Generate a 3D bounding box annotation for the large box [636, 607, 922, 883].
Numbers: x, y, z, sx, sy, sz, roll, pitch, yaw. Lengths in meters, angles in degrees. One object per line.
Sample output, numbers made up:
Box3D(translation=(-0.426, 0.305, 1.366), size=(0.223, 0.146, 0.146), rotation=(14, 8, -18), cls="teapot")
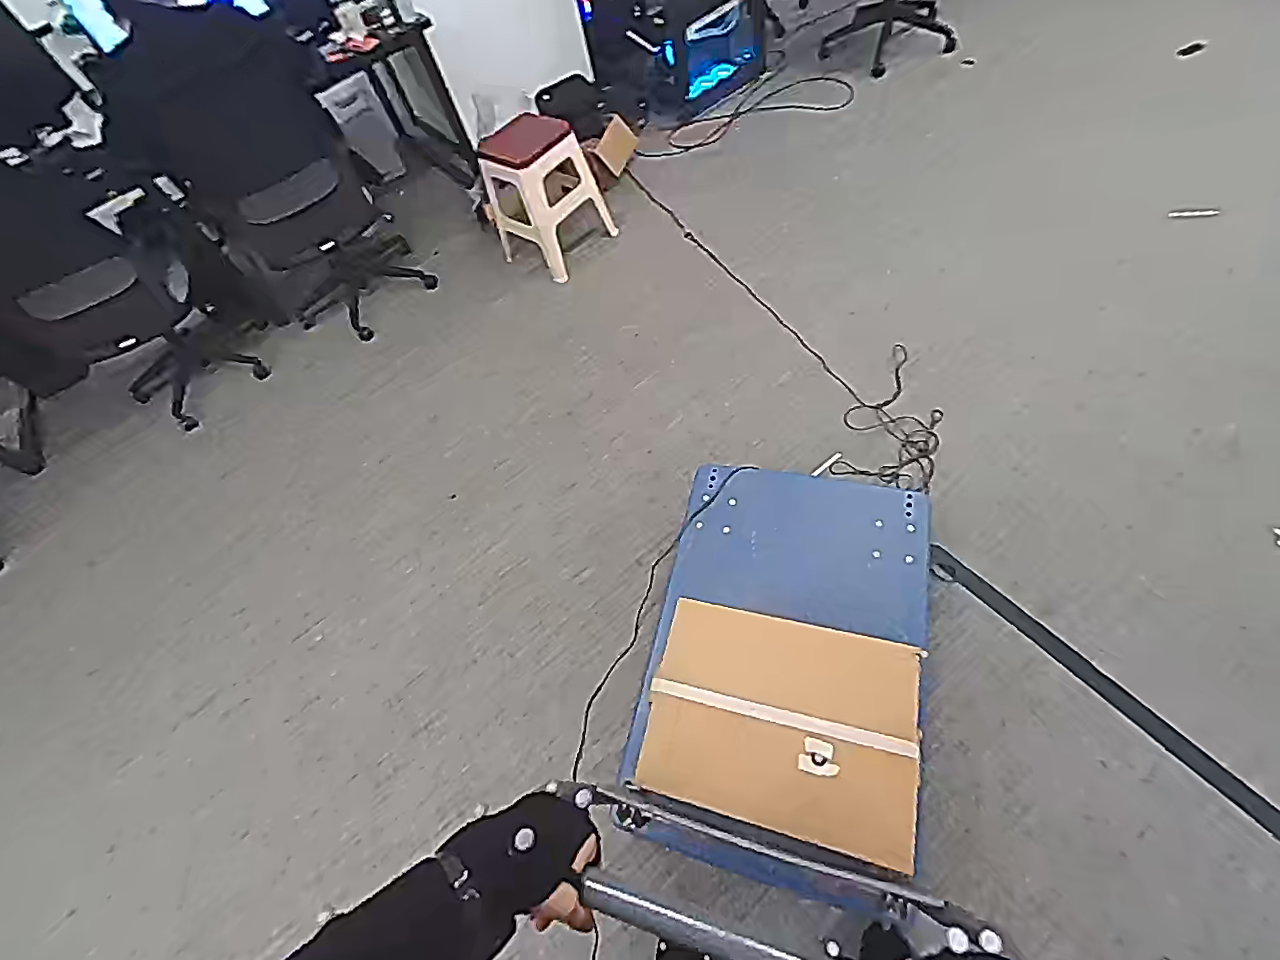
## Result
Box3D(translation=(0.242, 0.455, 0.961), size=(0.408, 0.320, 0.320), rotation=(9, 62, 17), cls="large box")
